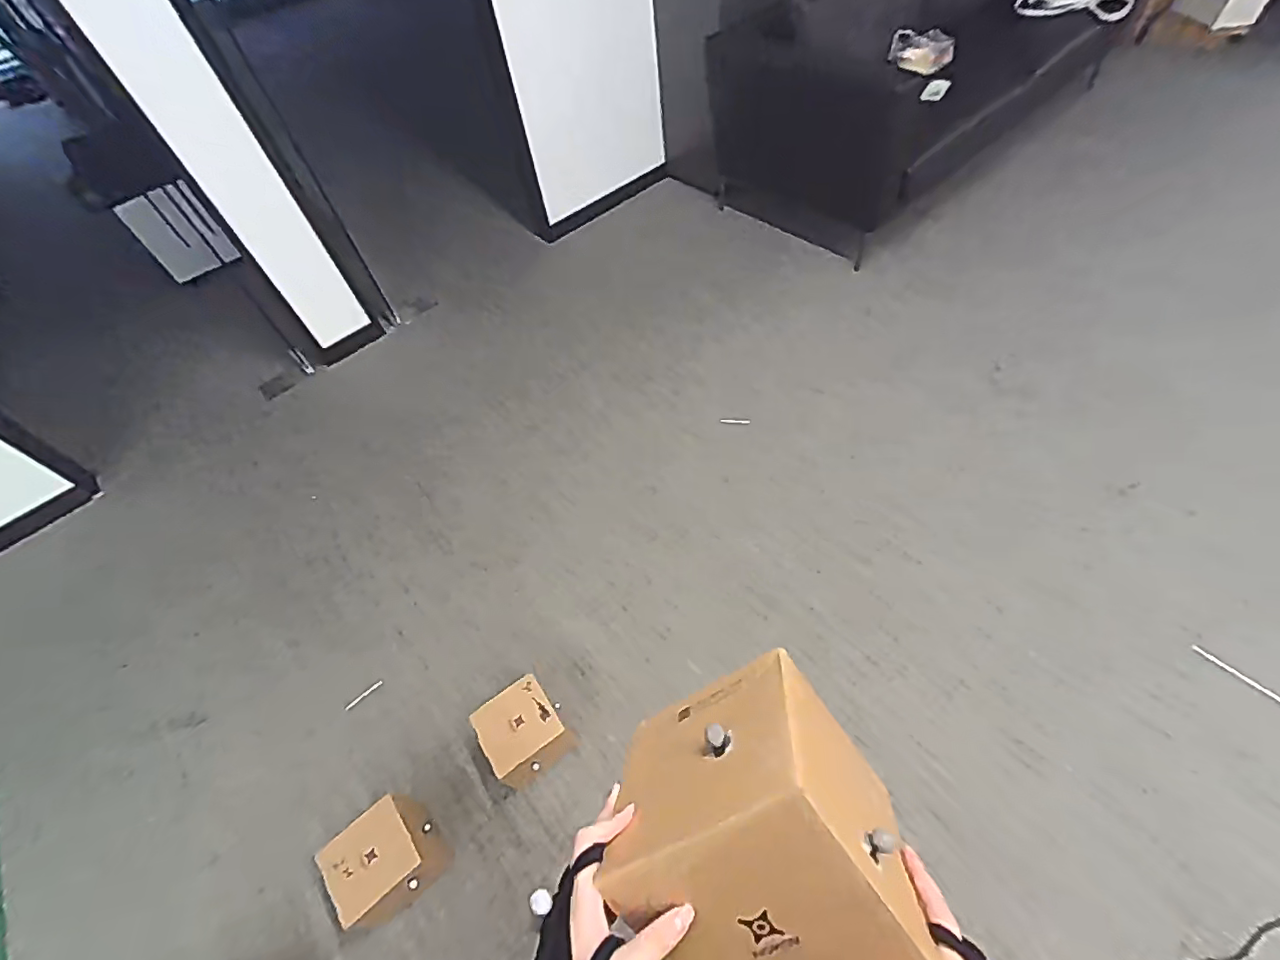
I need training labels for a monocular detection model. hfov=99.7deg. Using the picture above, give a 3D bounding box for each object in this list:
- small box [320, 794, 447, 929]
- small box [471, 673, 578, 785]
[{"bbox_3d":[-0.549,0.829,1.183,0.179,0.176,0.168,-37,57,-18],"label":"small box"},{"bbox_3d":[-0.273,0.606,1.307,0.179,0.176,0.168,-33,57,-15],"label":"small box"}]
